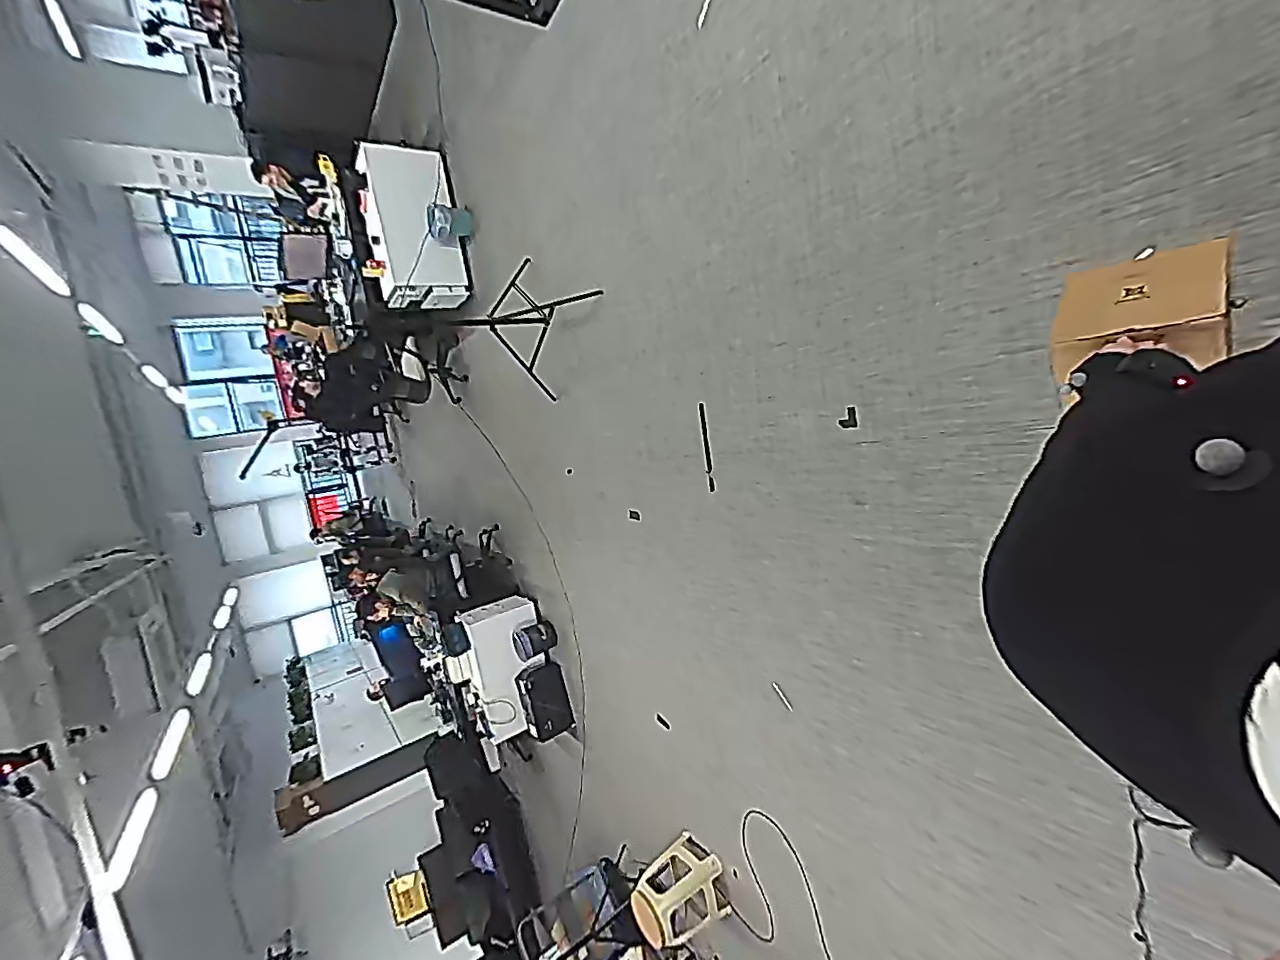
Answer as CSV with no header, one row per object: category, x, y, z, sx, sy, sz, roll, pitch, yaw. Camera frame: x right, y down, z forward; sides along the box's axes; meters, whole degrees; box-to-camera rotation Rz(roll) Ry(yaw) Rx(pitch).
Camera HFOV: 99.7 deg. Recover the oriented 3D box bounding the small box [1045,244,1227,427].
small box,0.692,-0.185,0.752,0.168,0.179,0.176,-1,134,48
